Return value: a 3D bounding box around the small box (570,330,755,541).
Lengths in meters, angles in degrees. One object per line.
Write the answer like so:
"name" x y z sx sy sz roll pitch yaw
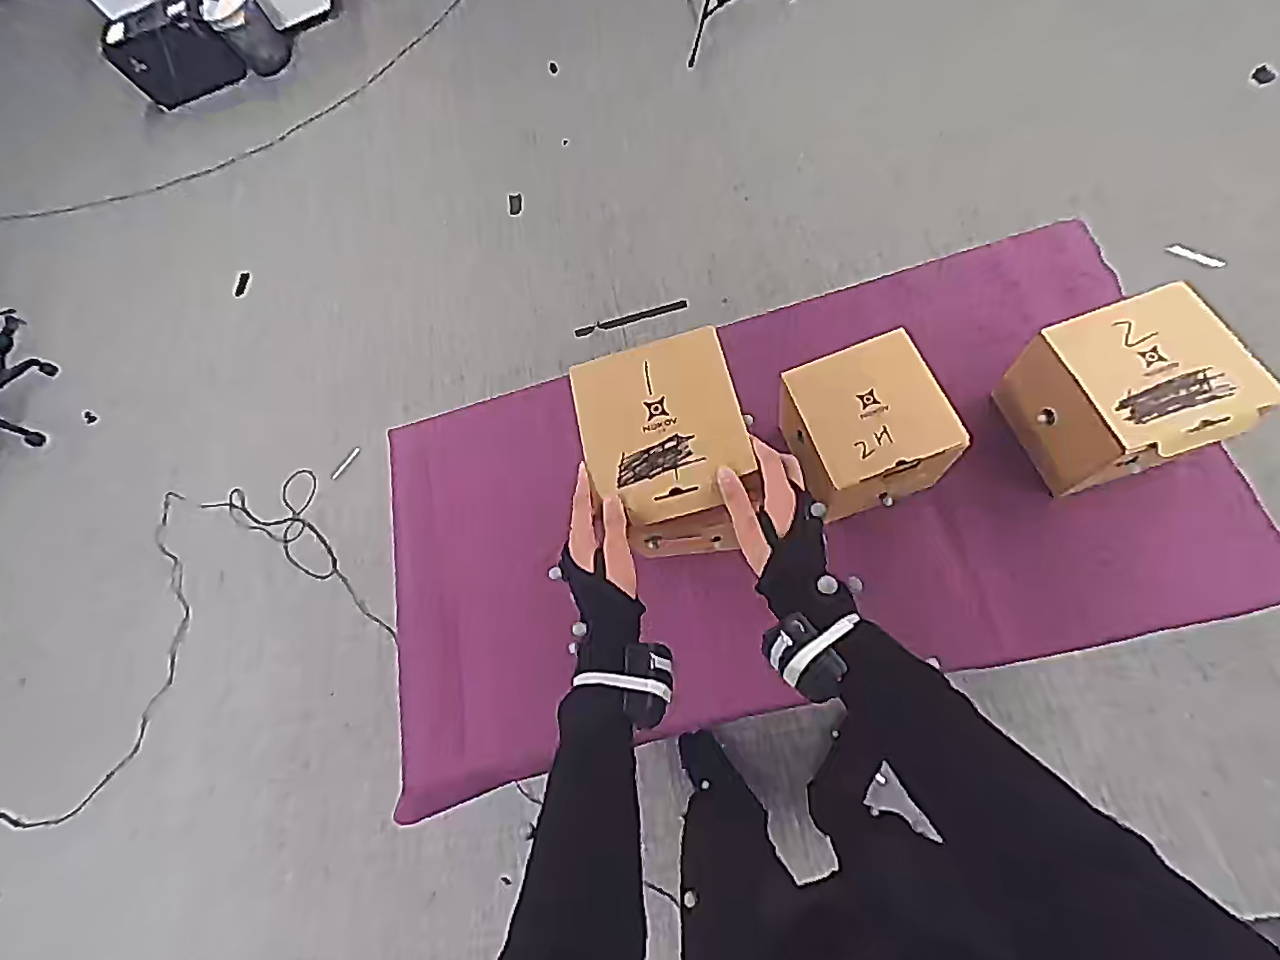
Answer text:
"small box" 0.033 -0.036 0.627 0.168 0.176 0.179 -15 68 7

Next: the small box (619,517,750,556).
"small box" 0.066 0.010 0.781 0.168 0.176 0.179 -7 69 11

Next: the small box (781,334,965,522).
"small box" 0.301 -0.062 0.747 0.168 0.176 0.179 -21 68 7
